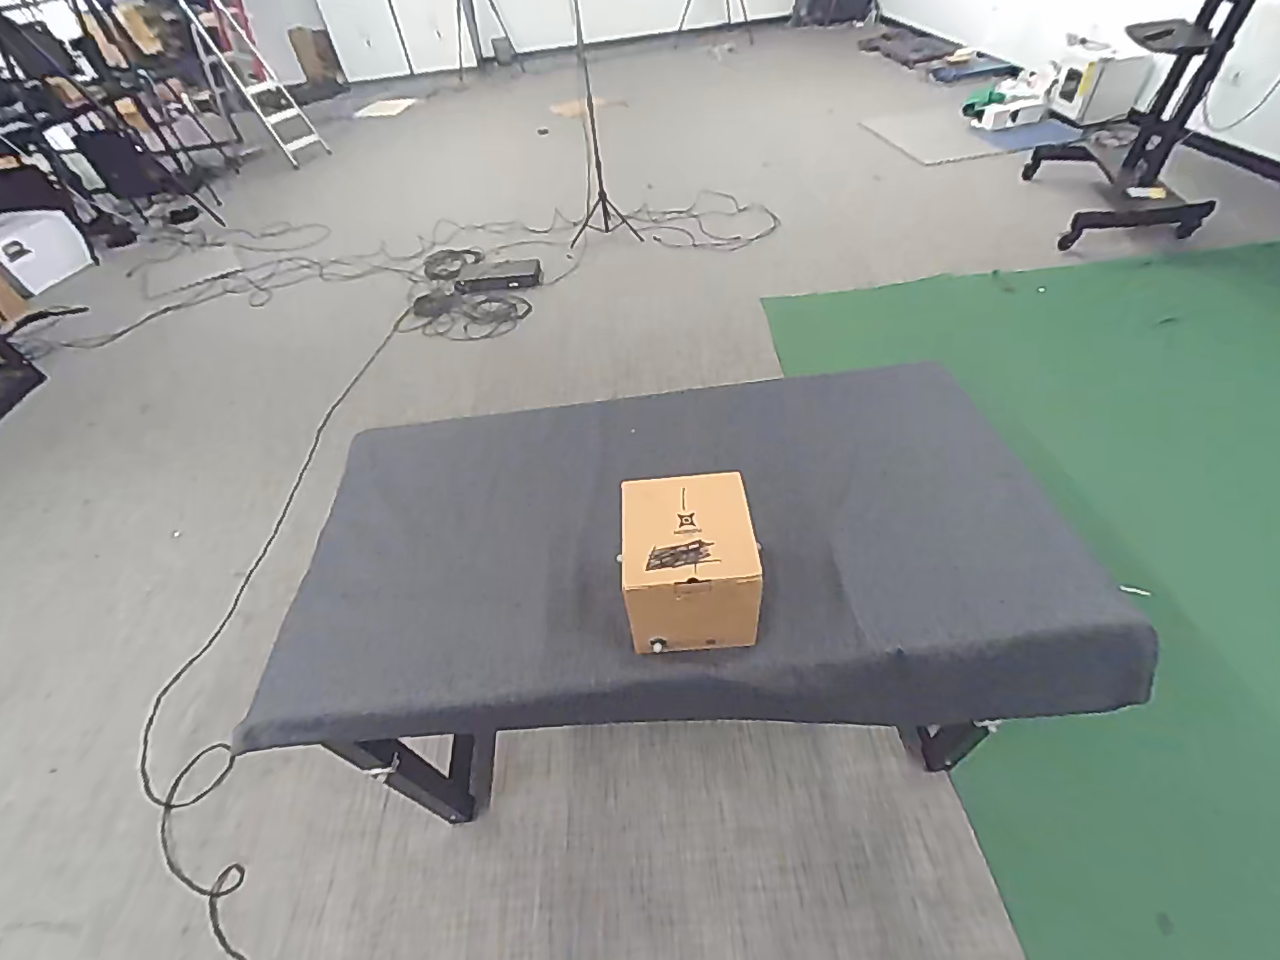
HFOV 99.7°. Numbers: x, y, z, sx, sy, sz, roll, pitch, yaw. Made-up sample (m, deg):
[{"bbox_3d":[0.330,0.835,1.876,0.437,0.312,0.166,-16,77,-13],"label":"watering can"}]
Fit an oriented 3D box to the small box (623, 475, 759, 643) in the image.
[{"bbox_3d":[0.069,0.116,0.756,0.168,0.176,0.179,-3,46,3],"label":"small box"}]
